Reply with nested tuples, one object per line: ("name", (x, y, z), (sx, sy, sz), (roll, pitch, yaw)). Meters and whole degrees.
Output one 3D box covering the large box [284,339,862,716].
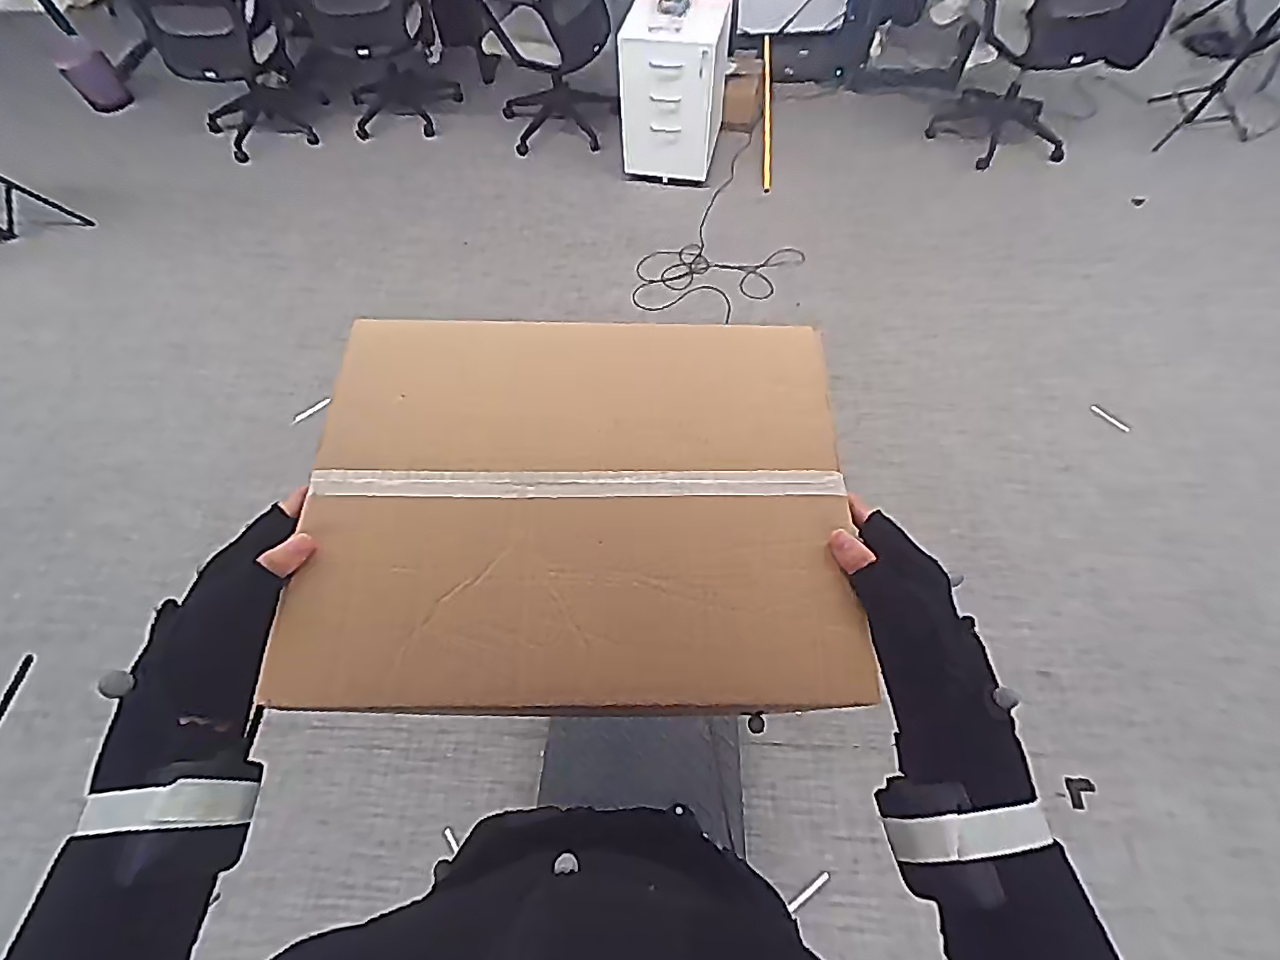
("large box", (-0.047, 0.073, 0.563), (0.408, 0.320, 0.320), (0, 65, -1))
